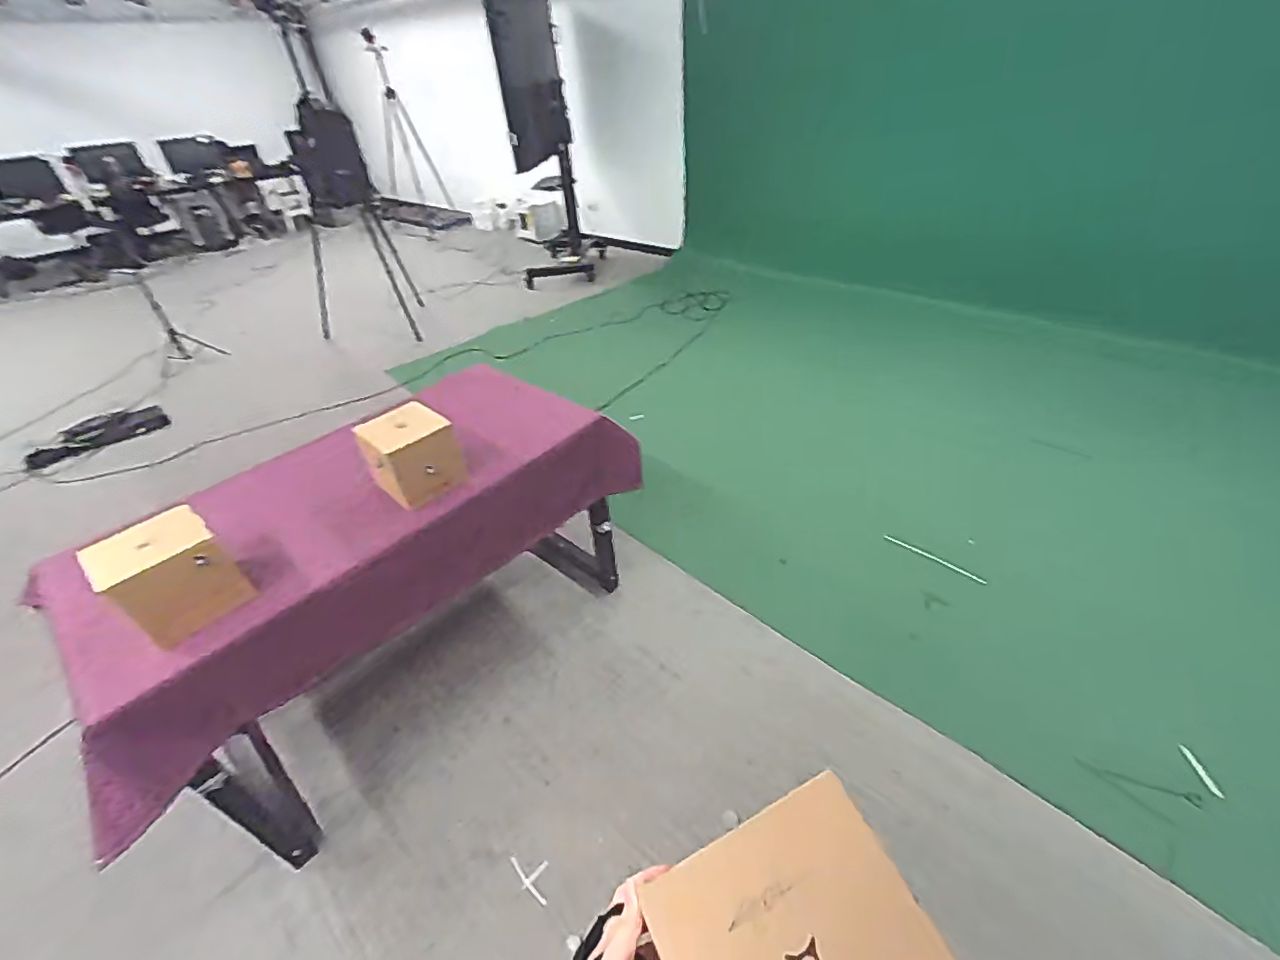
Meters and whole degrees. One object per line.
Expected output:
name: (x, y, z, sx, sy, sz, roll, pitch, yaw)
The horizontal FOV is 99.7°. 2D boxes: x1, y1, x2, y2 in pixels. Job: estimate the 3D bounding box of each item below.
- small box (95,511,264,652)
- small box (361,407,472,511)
small box: (-0.881, 0.196, 1.045, 0.168, 0.176, 0.179, 24, 45, 34)
small box: (-0.539, -0.049, 1.320, 0.179, 0.176, 0.168, 27, 47, 36)
